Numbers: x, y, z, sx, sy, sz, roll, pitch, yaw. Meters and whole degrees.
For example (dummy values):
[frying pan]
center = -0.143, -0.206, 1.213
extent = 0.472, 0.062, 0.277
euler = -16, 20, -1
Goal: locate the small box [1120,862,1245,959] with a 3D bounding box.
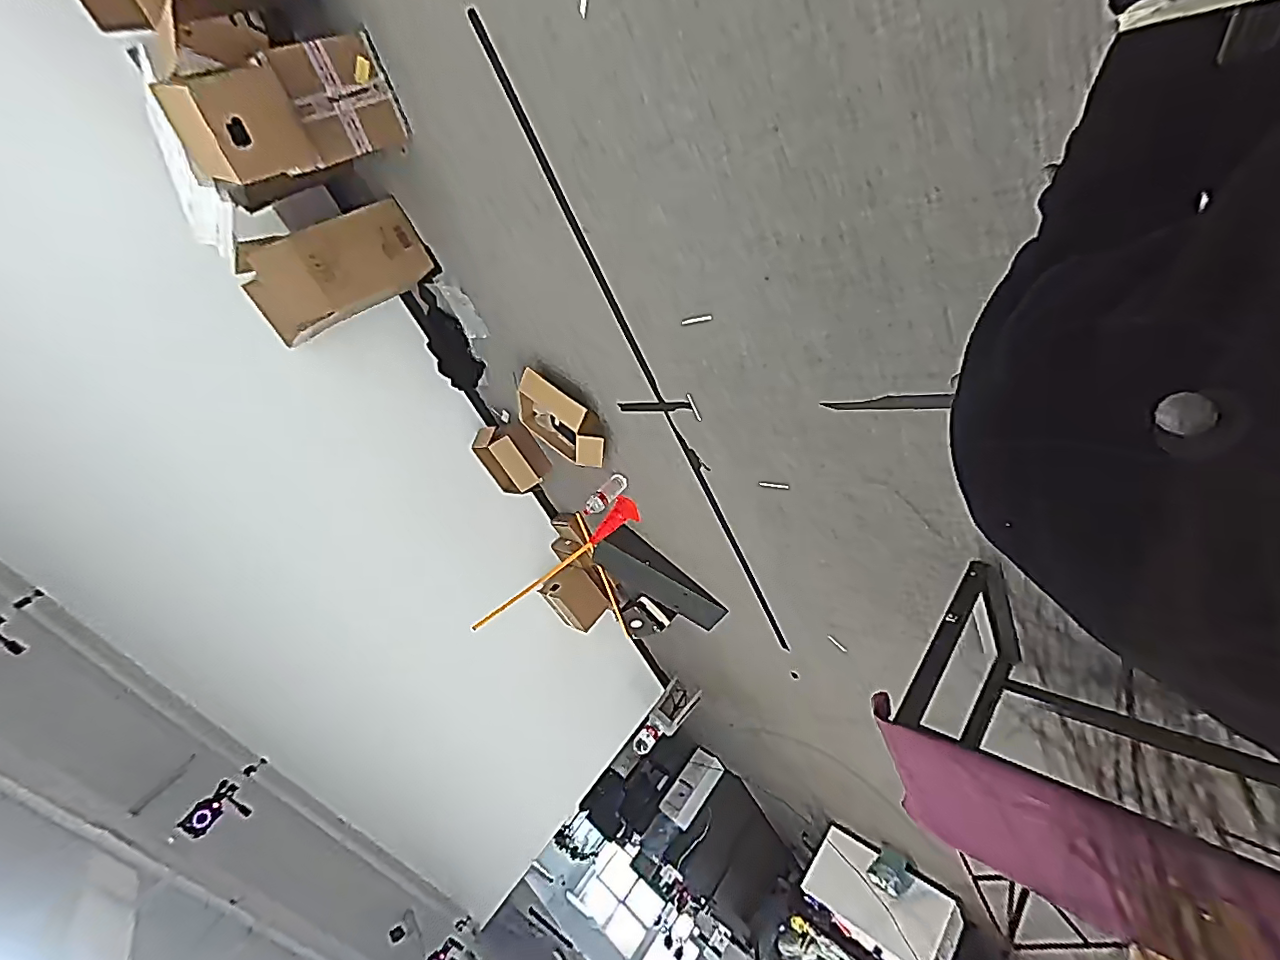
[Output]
[small box]
center = 1.126, 0.954, 1.125
extent = 0.168, 0.176, 0.179
euler = 8, 135, 47
